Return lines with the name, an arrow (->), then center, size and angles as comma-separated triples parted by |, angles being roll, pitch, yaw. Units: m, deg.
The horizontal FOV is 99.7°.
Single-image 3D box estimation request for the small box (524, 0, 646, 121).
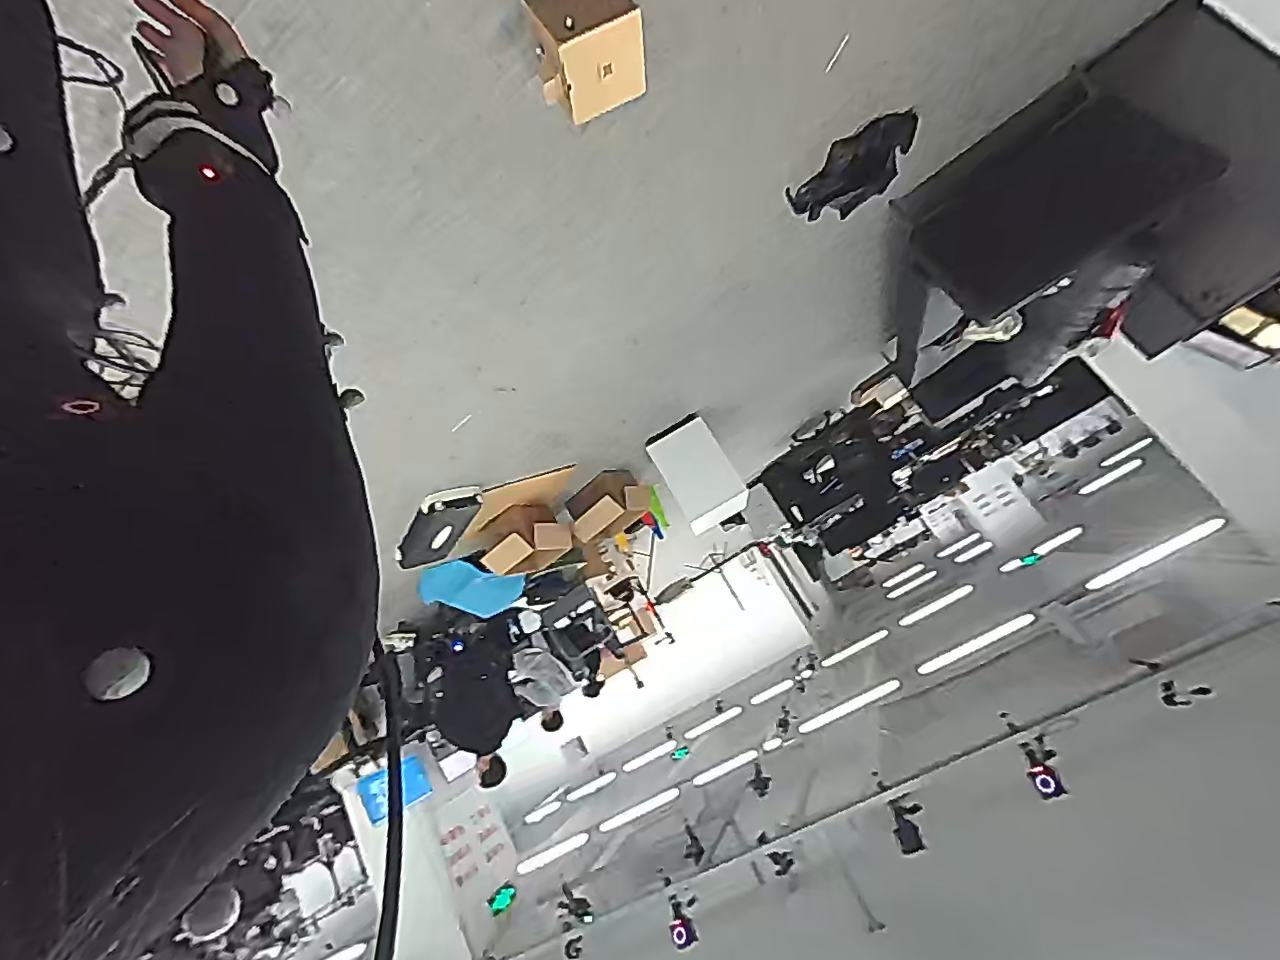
small box -> -0.105, -0.883, 1.086 | 0.179, 0.176, 0.168 | -29, 164, -4
